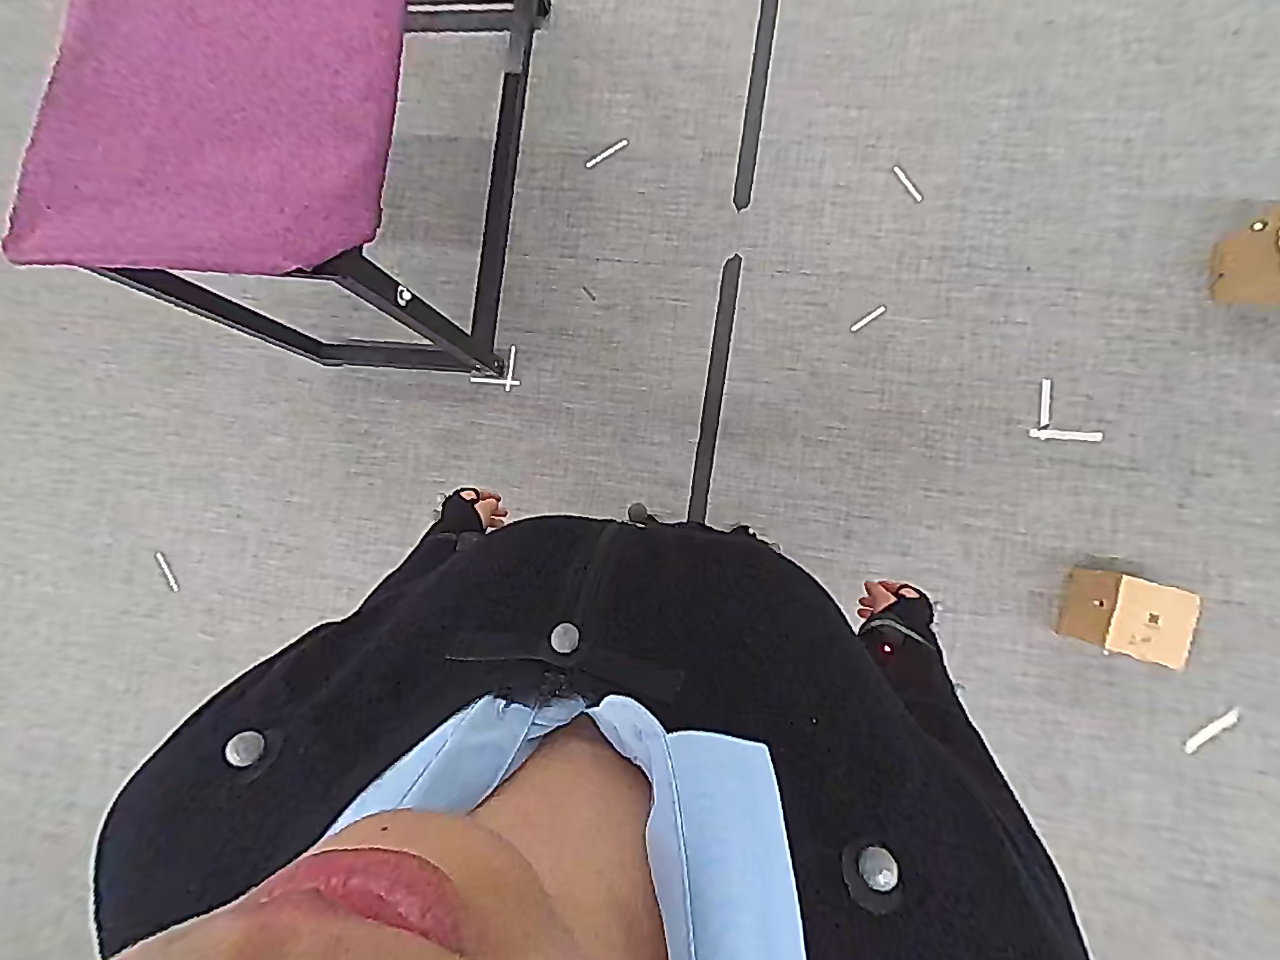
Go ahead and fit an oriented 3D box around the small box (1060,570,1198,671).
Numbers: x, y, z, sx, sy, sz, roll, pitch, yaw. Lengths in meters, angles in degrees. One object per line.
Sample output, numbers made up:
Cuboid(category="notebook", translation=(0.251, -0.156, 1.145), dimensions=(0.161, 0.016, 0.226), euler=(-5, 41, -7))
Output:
Cuboid(category="small box", translation=(1.152, 0.324, 1.288), dimensions=(0.168, 0.176, 0.179), euler=(16, 88, 8))
